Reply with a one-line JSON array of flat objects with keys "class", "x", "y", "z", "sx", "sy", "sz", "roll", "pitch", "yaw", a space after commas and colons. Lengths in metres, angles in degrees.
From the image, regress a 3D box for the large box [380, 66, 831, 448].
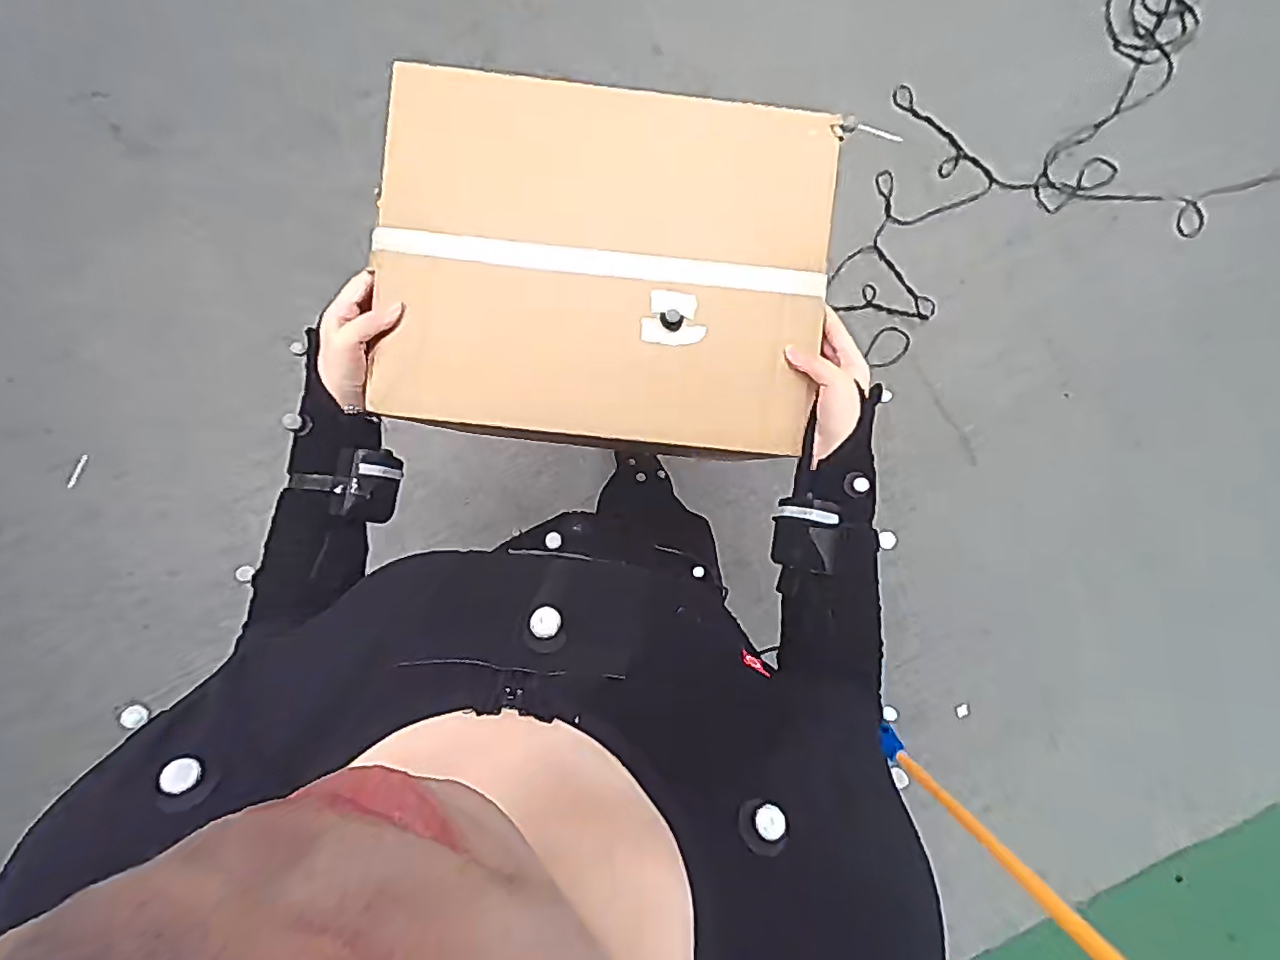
[{"class": "large box", "x": -0.038, "y": -0.211, "z": 0.646, "sx": 0.408, "sy": 0.320, "sz": 0.320, "roll": 5, "pitch": 92, "yaw": -3}]
